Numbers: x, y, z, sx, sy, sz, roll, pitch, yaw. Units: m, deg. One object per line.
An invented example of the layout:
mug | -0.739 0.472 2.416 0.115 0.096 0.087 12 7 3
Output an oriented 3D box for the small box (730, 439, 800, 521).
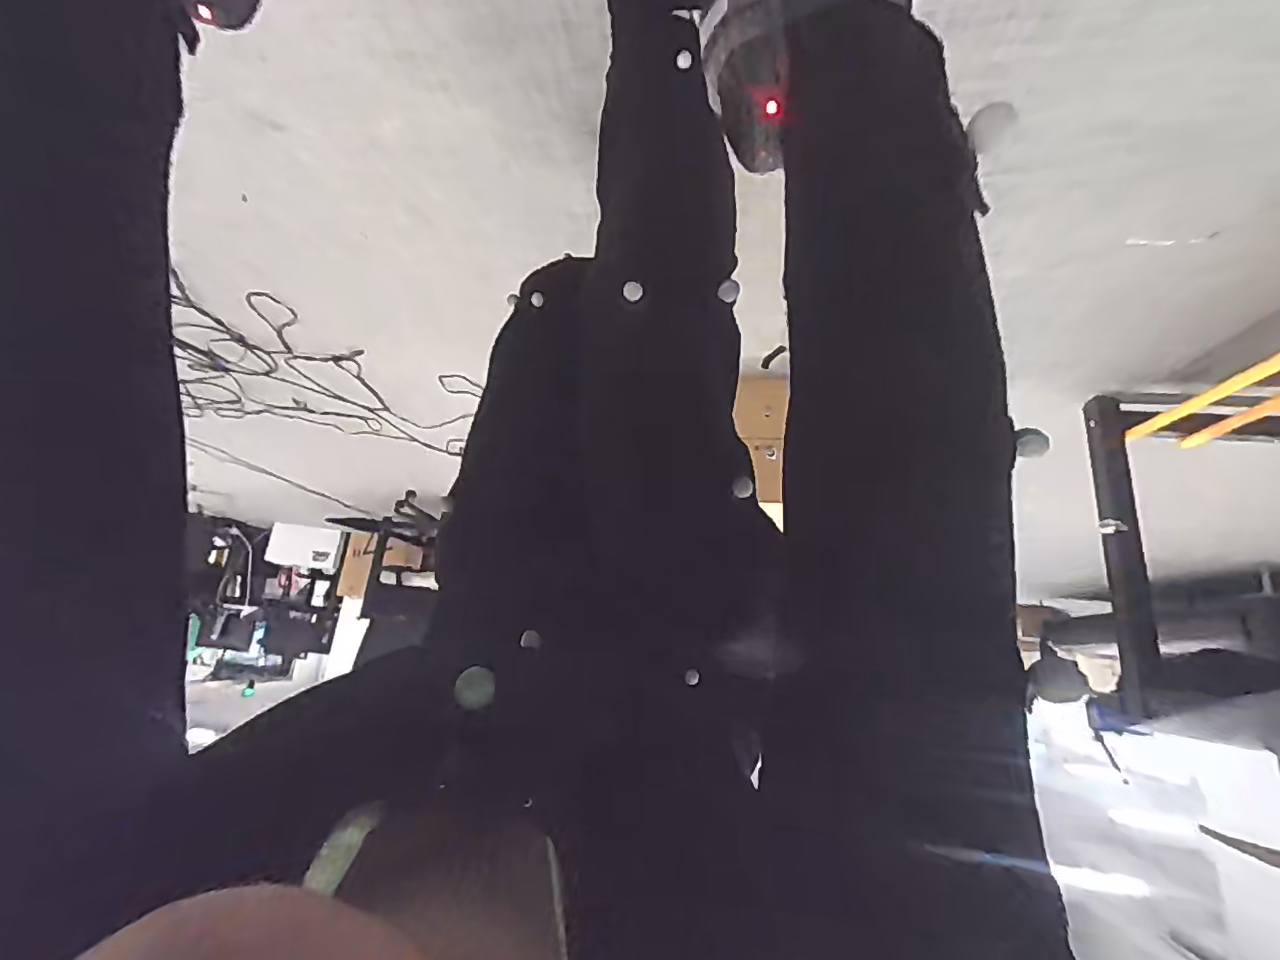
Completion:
small box | 0.321 0.003 1.386 0.168 0.176 0.179 0 162 14

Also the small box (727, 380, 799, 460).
small box | 0.325 -0.156 1.429 0.179 0.176 0.168 1 163 14
